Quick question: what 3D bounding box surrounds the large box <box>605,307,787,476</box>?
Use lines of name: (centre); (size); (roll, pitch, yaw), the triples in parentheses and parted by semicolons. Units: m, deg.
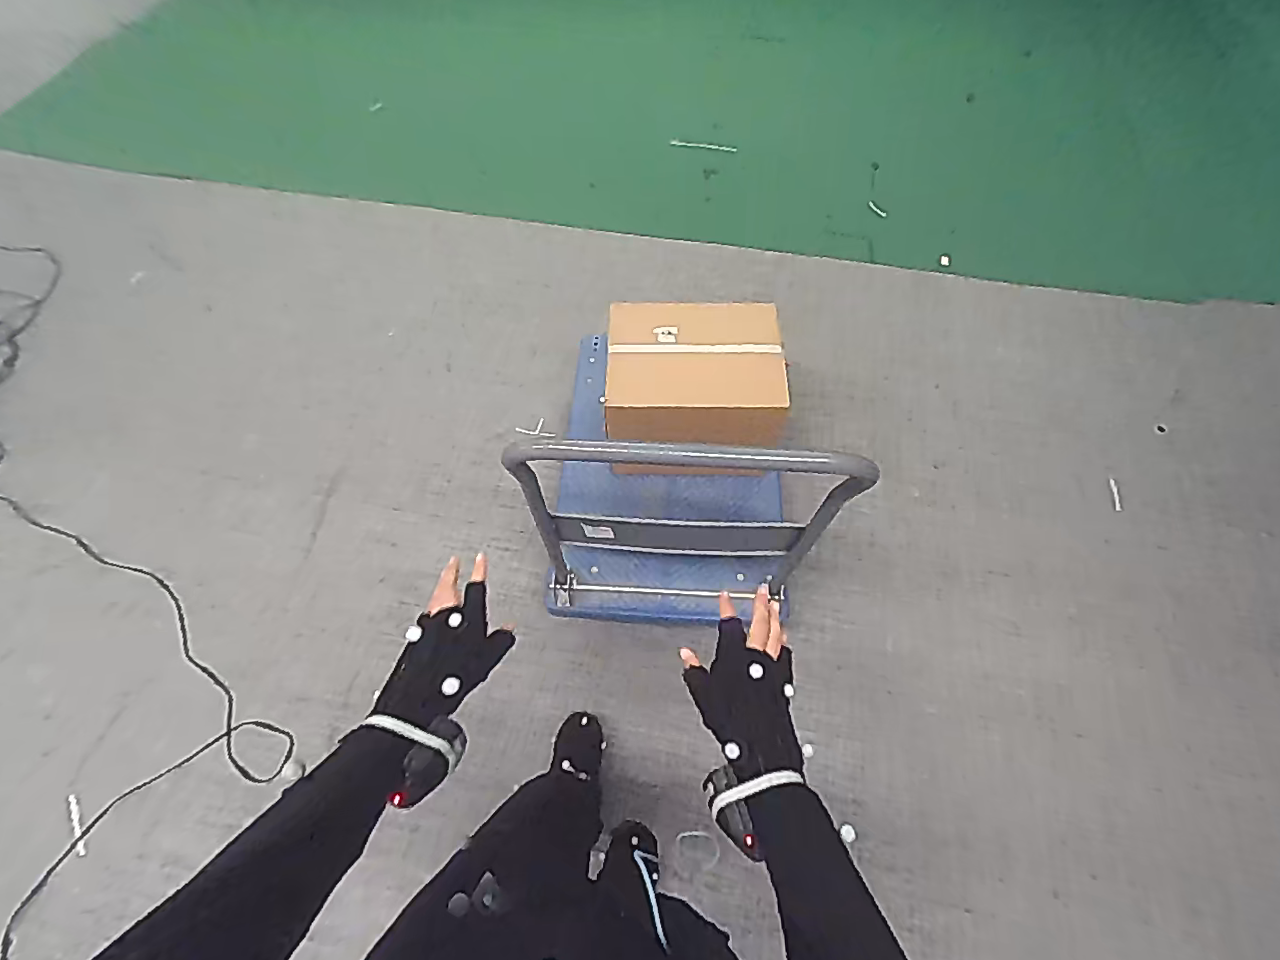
large box: (0.129, -0.214, 1.380); (0.408, 0.320, 0.320); (0, 60, 2)
